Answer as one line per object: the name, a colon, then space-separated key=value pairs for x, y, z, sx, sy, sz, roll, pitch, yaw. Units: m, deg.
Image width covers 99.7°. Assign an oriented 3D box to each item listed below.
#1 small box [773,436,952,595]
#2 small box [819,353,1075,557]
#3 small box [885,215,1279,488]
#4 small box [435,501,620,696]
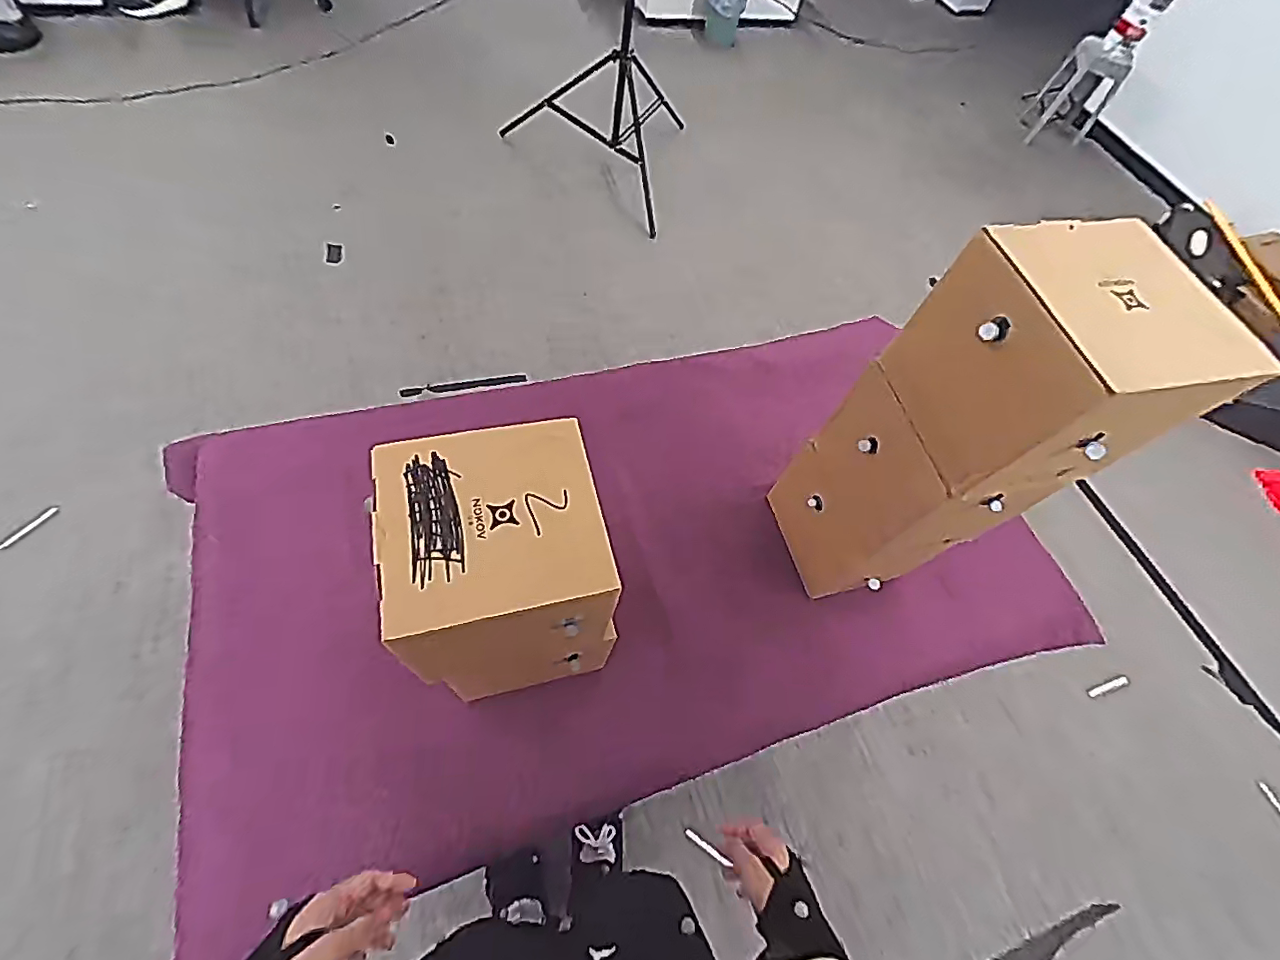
small box: x=0.314 y=0.044 z=0.774 sx=0.168 sy=0.176 sz=0.179 roll=-10 pitch=63 yaw=-14
small box: x=0.338 y=-0.032 z=0.630 sx=0.168 sy=0.176 sz=0.179 roll=-8 pitch=62 yaw=-13
small box: x=0.362 y=-0.105 z=0.486 sx=0.168 sy=0.176 sz=0.179 roll=-9 pitch=62 yaw=-13
small box: x=-0.134 y=0.146 z=0.646 sx=0.179 sy=0.176 sz=0.168 roll=-10 pitch=62 yaw=-14
